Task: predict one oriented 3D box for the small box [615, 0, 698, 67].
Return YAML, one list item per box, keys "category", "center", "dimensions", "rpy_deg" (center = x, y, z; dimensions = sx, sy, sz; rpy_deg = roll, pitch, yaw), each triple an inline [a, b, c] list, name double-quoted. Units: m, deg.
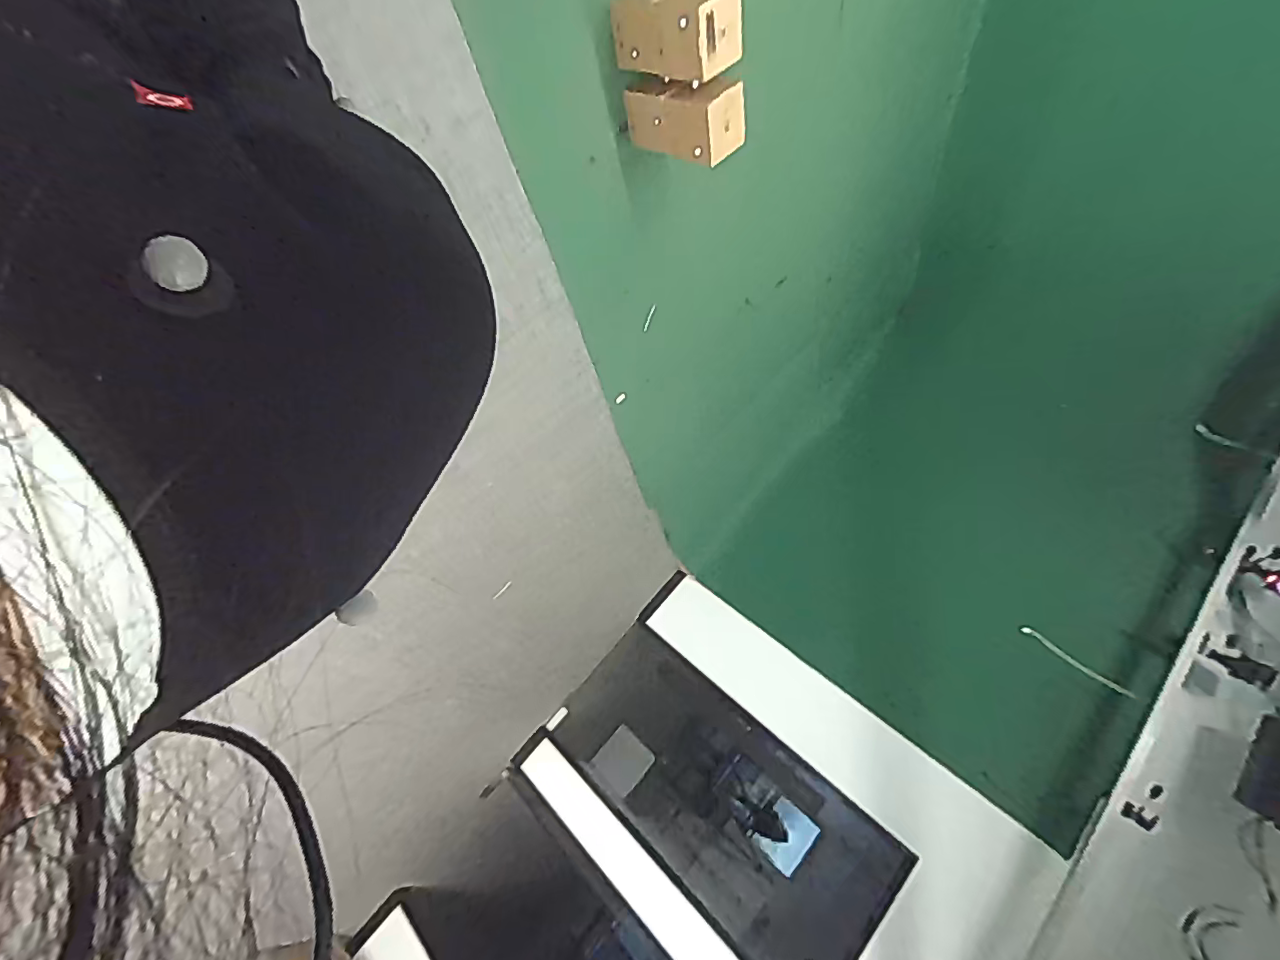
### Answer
- category: "small box"
  center: [0.044, -1.318, 1.551]
  dimensions: [0.179, 0.176, 0.168]
  rpy_deg: [-43, 147, -20]
